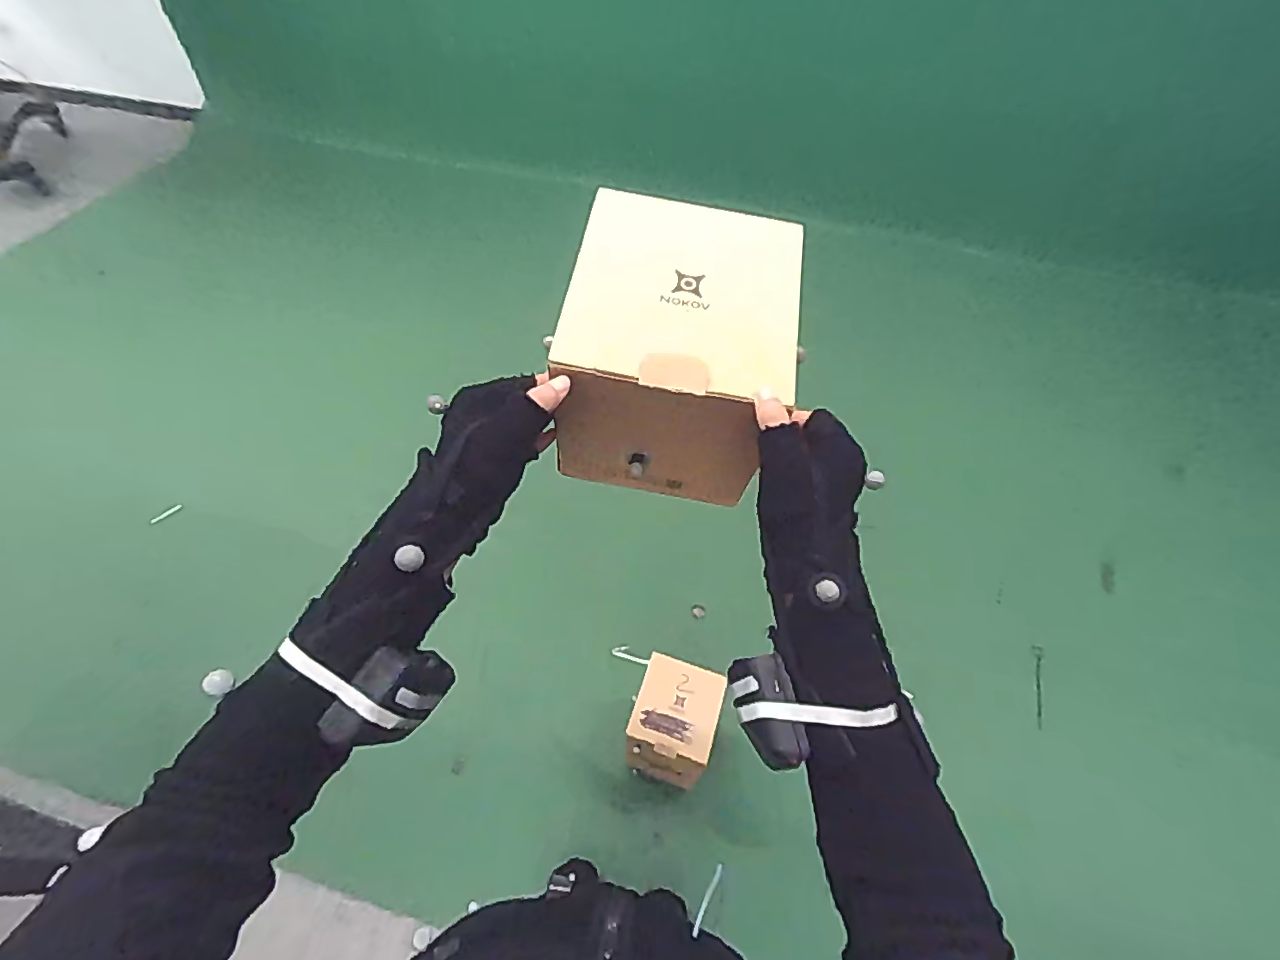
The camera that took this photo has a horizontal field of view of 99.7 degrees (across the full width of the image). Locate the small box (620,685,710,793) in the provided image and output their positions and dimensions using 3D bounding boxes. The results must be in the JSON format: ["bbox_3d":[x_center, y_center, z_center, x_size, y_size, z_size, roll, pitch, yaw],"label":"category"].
[{"bbox_3d":[0.058,0.610,1.265,0.168,0.176,0.179,15,55,8],"label":"small box"}]
